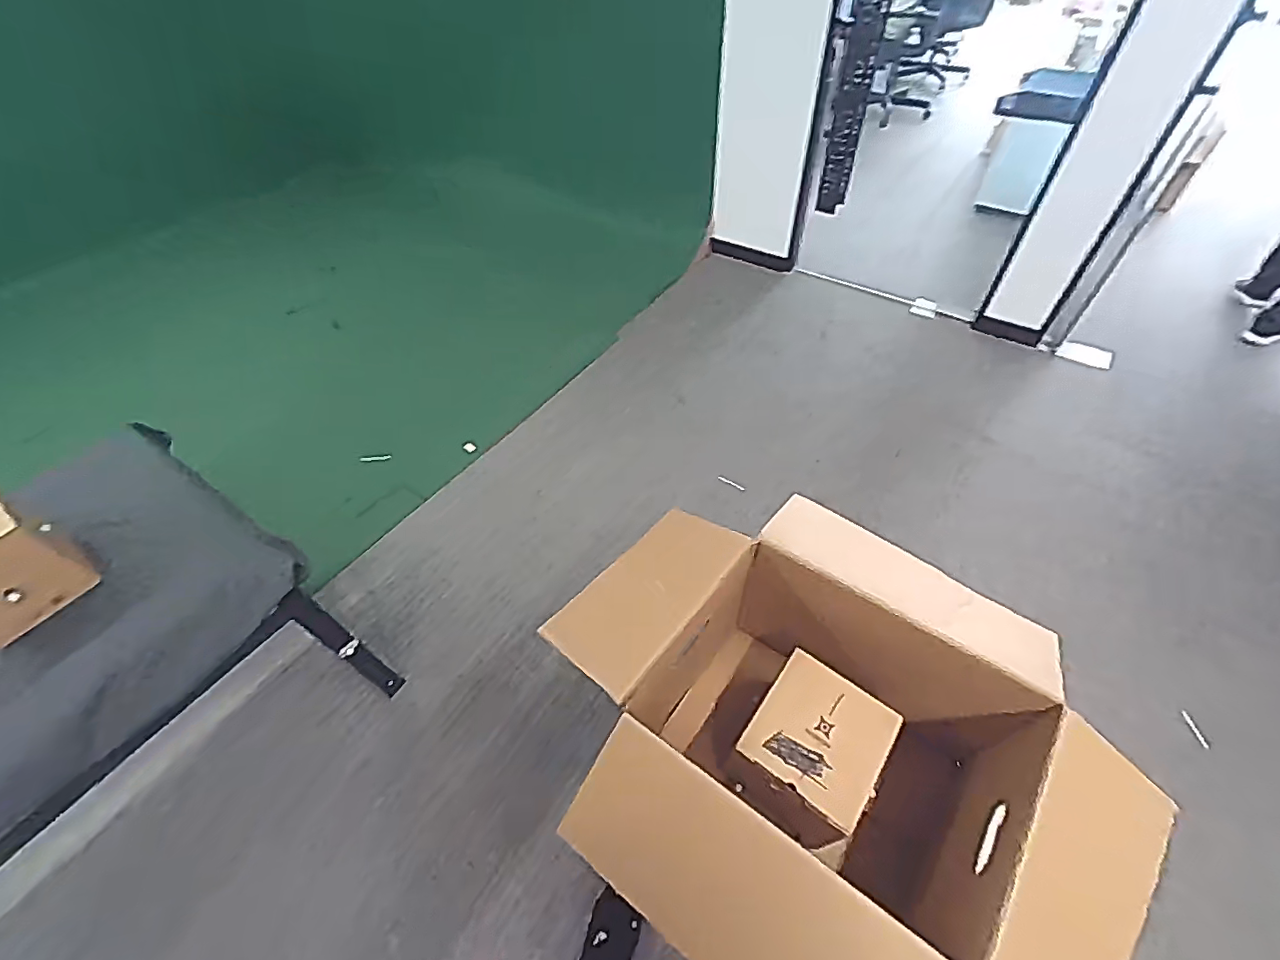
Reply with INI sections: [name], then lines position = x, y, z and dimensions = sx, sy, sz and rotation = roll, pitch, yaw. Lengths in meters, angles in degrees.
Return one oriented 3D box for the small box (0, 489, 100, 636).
[small box]
position = -1.087, 0.139, 0.911
dimensions = 0.179, 0.176, 0.168
rotation = 29, 58, 22
